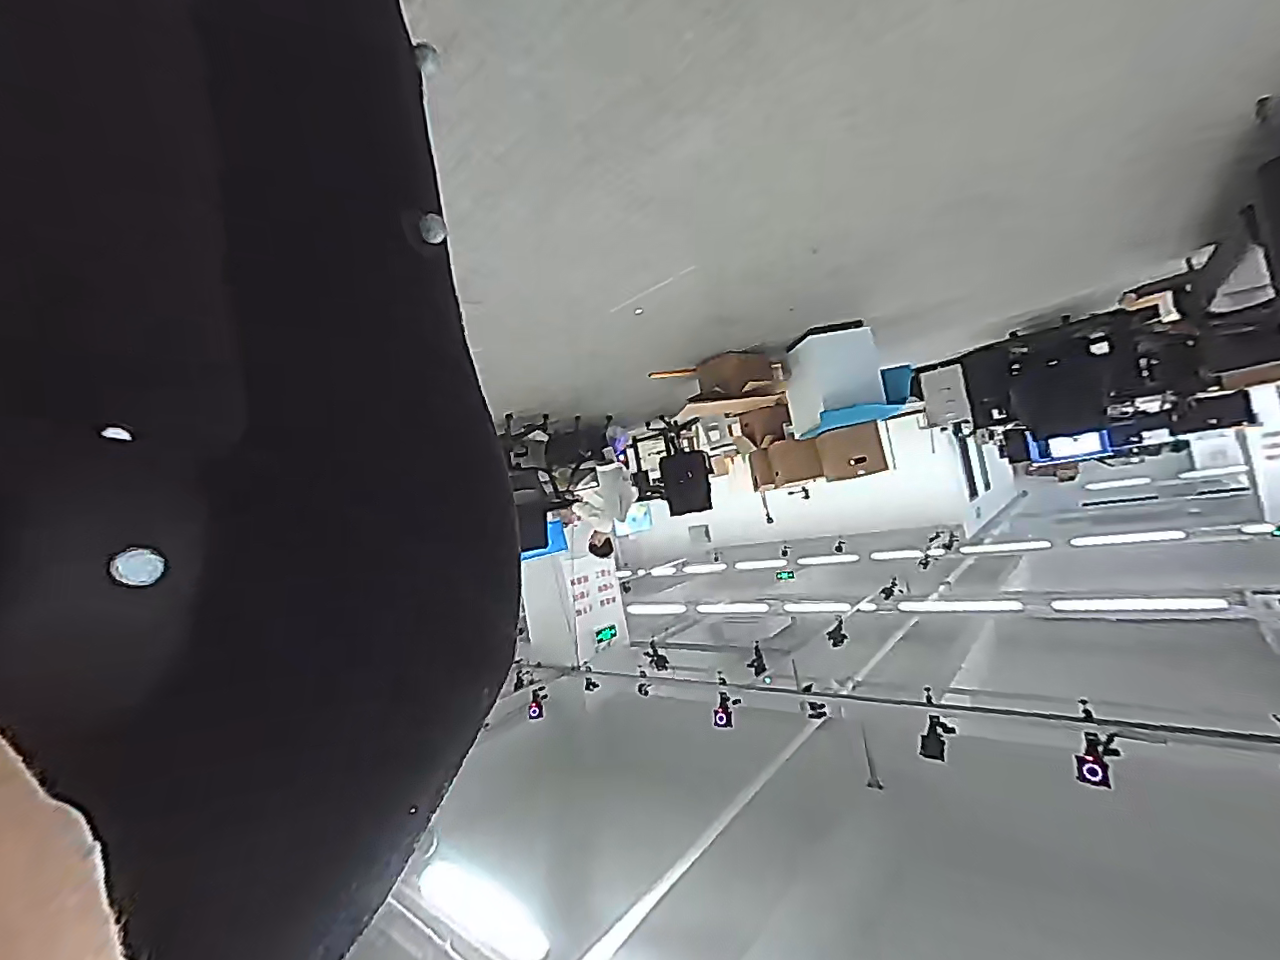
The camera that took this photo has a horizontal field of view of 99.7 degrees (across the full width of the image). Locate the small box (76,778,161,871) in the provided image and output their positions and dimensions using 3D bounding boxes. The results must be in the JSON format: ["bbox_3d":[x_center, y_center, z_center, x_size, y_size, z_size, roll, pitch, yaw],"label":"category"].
[{"bbox_3d":[-1.641,1.071,1.700,0.168,0.176,0.179,-11,177,42],"label":"small box"}]

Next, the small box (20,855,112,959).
[{"bbox_3d":[-1.698,1.243,1.598,0.179,0.176,0.168,-11,179,41],"label":"small box"}]
